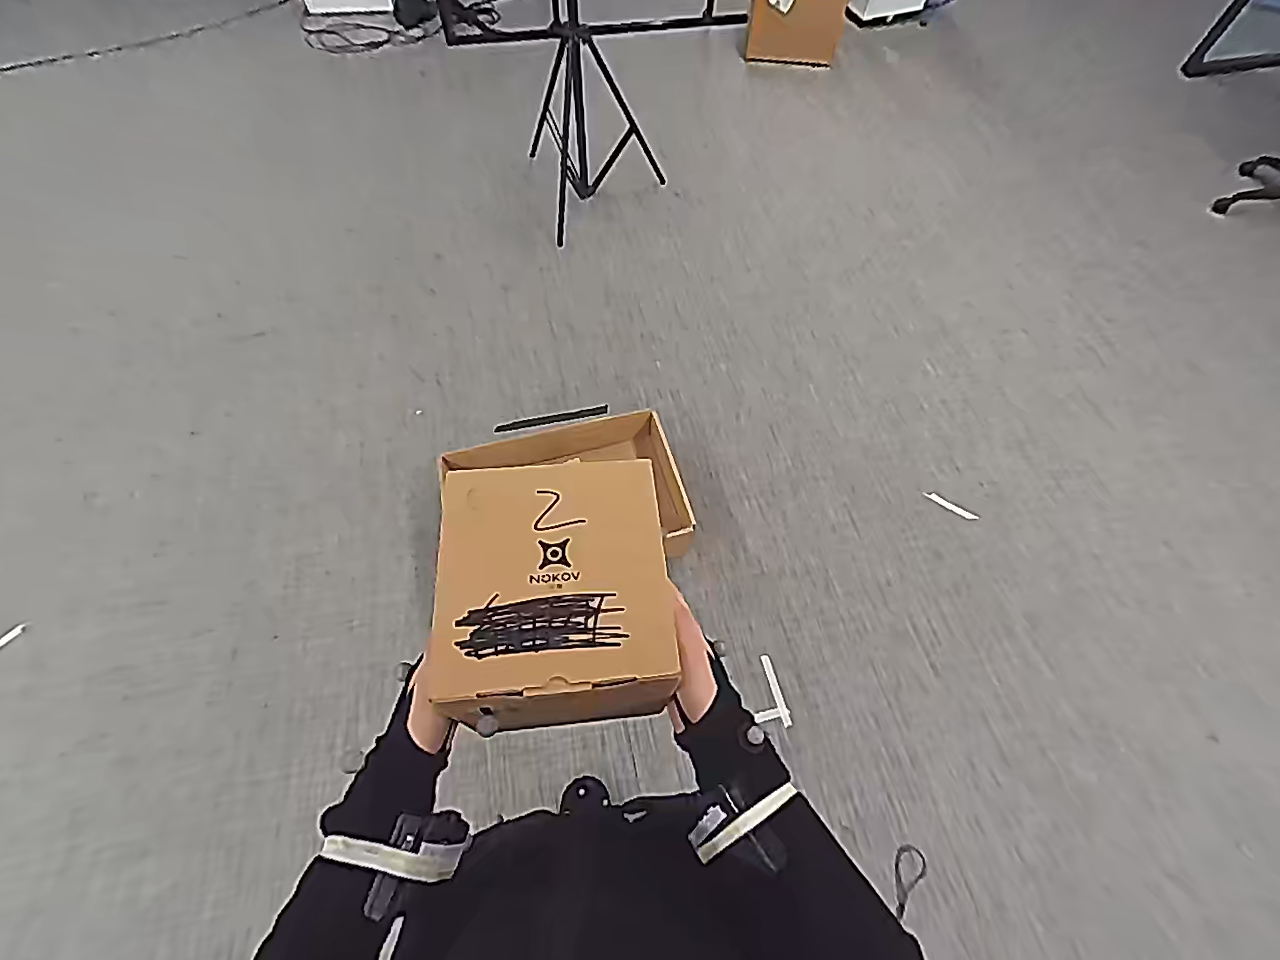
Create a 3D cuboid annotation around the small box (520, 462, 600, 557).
[{"bbox_3d":[-0.212,0.082,1.460,0.168,0.176,0.179,-19,64,-10],"label":"small box"}]
